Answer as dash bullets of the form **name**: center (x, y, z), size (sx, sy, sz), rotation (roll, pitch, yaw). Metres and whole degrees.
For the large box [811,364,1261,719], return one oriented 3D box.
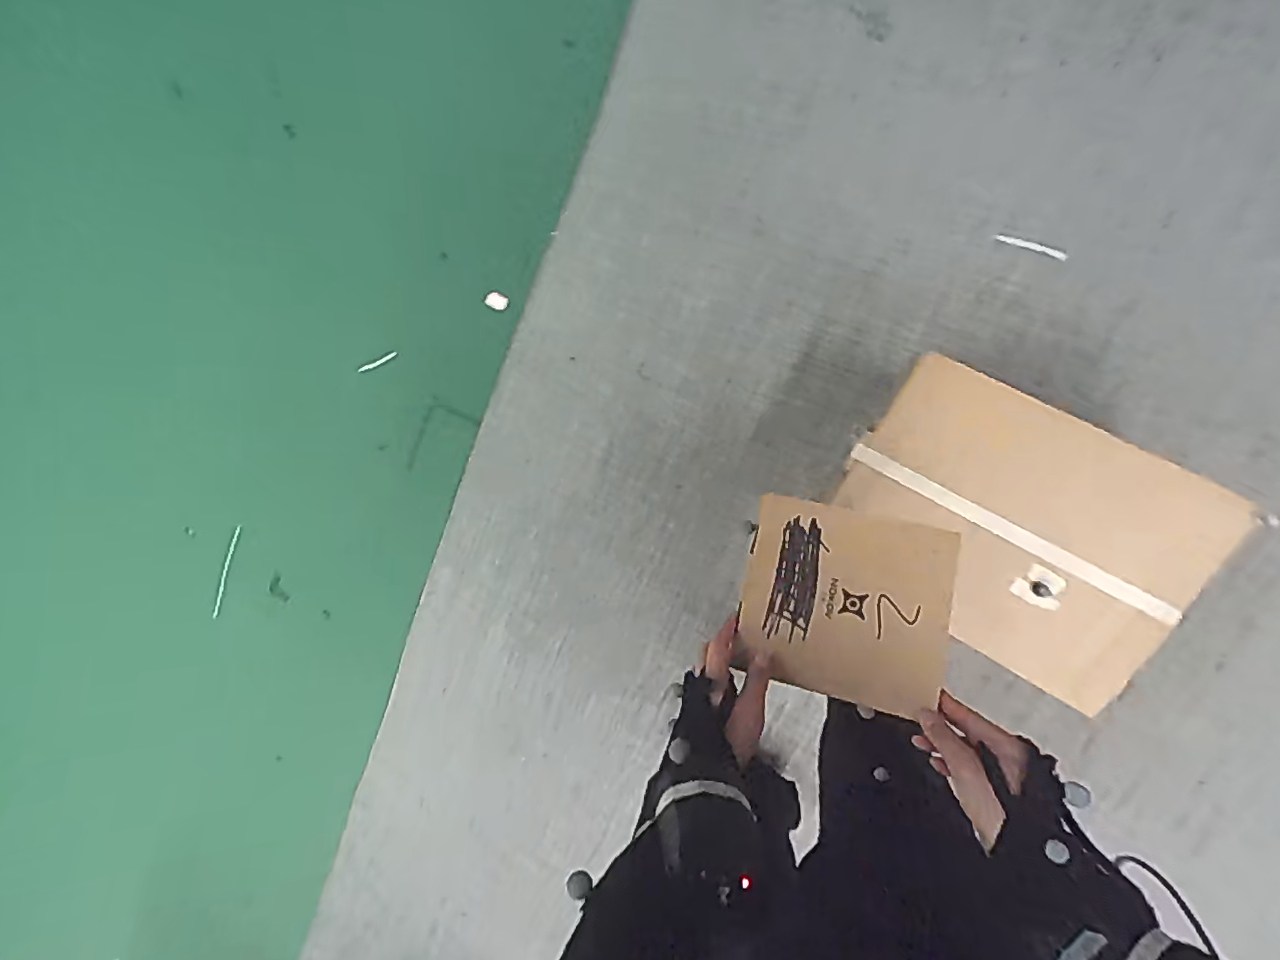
- **large box**: center (0.519, 0.065, 0.832), size (0.408, 0.320, 0.320), rotation (32, 103, 13)
